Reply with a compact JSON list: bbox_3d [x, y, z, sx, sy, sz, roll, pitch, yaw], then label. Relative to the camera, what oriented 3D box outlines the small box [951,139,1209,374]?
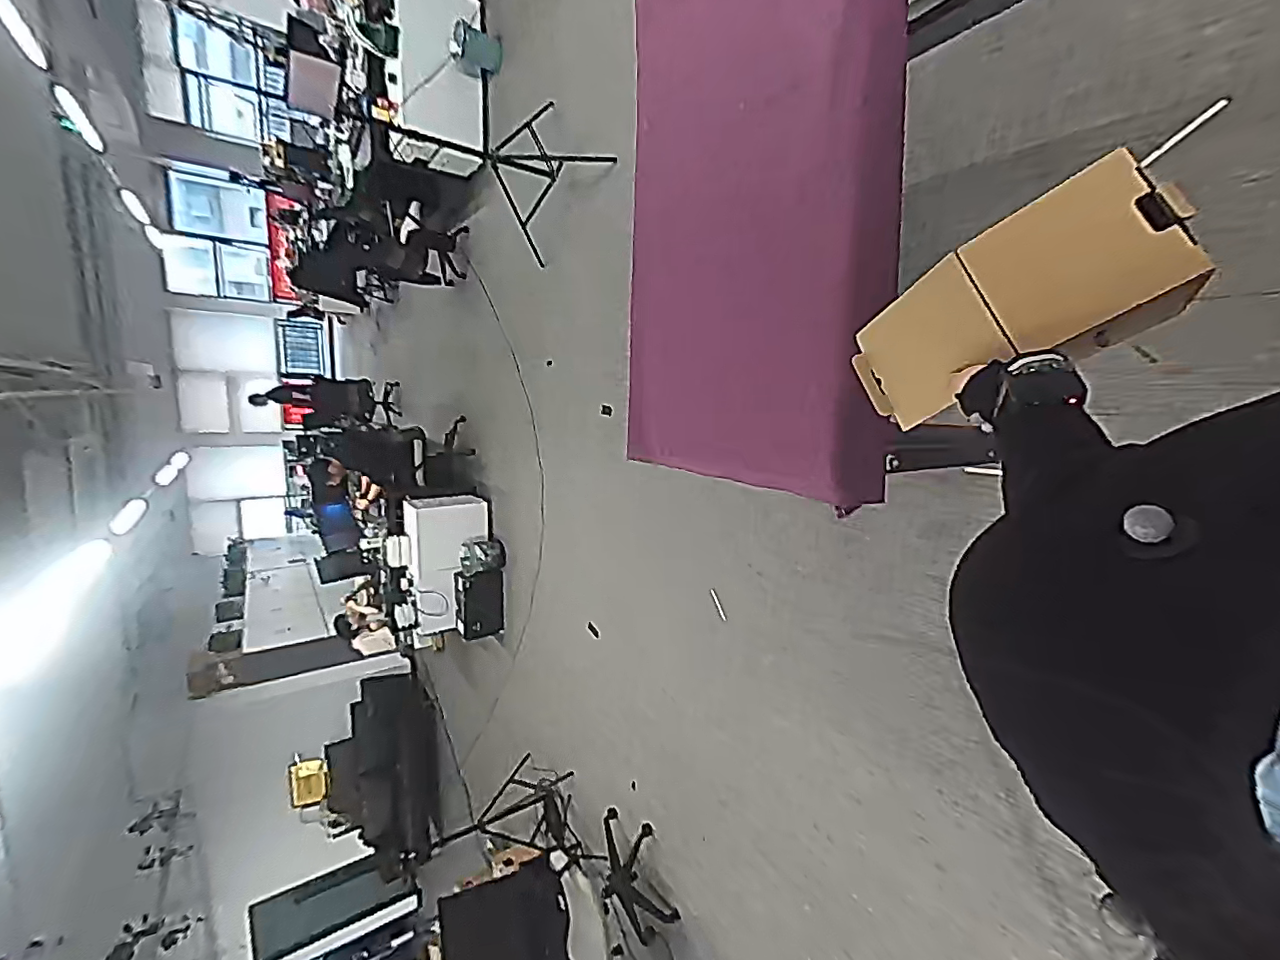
[{"bbox_3d":[0.514,-0.247,0.652,0.179,0.176,0.168,-30,72,33],"label":"small box"}]
